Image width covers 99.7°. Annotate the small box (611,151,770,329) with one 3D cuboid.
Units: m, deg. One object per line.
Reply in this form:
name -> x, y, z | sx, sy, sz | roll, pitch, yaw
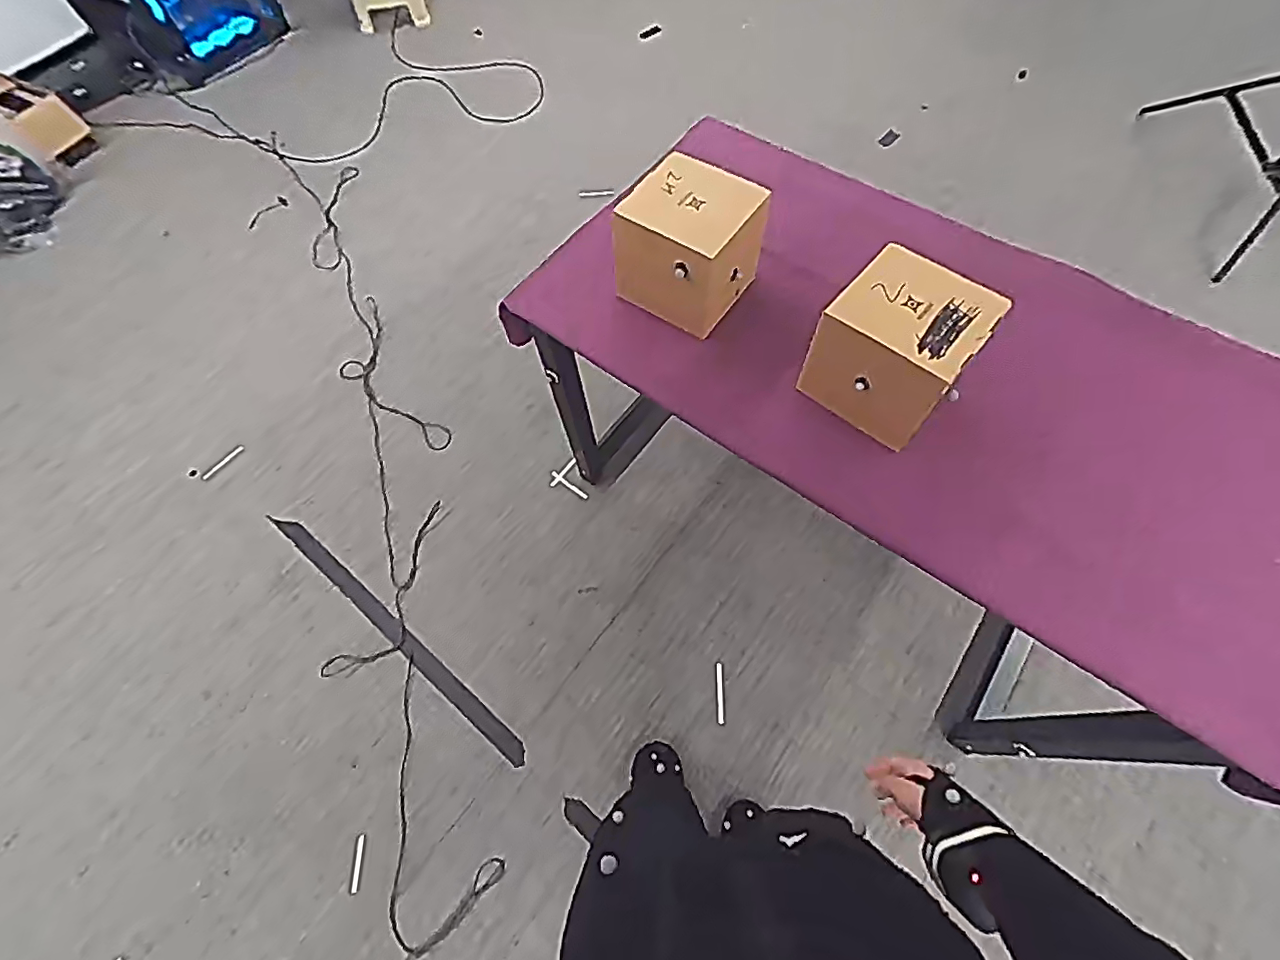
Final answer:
small box -> 0.076, -0.367, 0.851 | 0.179, 0.176, 0.168 | 32, 69, 16
